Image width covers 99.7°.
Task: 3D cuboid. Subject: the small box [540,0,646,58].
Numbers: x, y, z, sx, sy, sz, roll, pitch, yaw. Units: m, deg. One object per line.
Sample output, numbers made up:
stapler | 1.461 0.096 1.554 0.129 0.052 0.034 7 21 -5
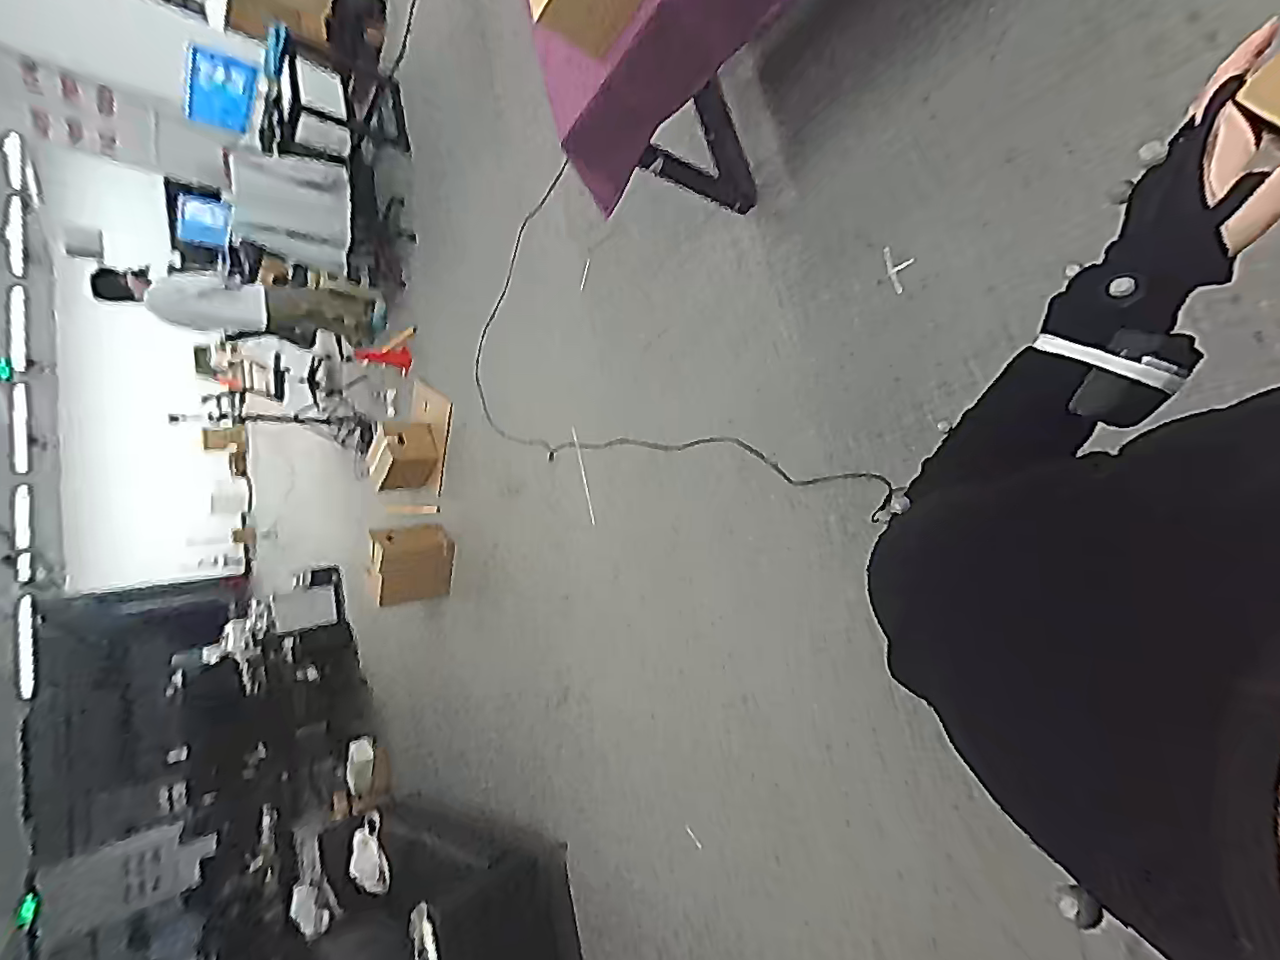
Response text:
small box | -0.099 -1.047 1.123 0.179 0.176 0.168 -23 75 46
